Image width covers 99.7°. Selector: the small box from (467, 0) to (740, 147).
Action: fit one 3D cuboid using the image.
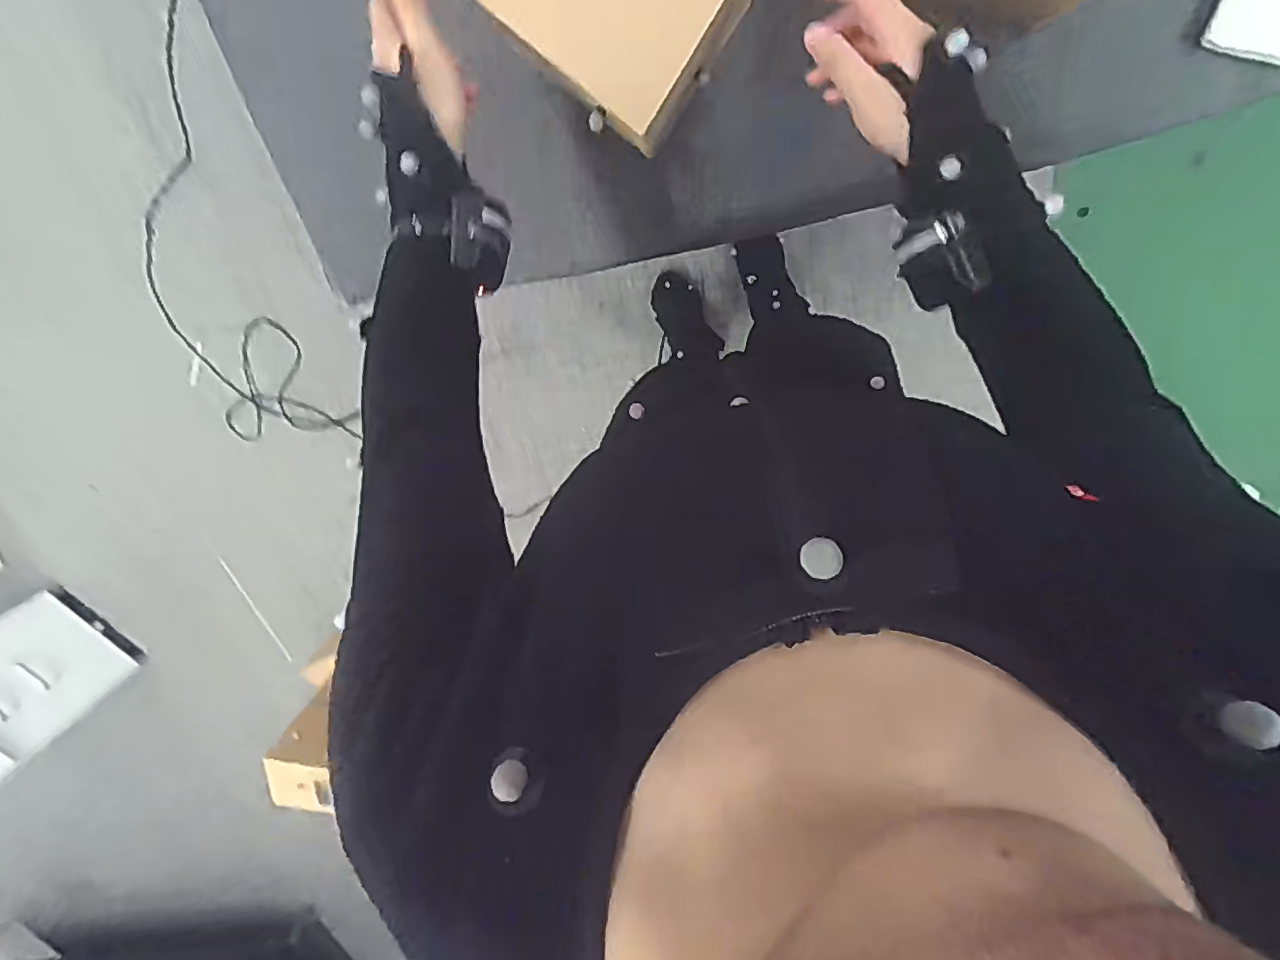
[{"bbox_3d":[-0.019,-0.424,0.473,0.179,0.176,0.168,34,113,-11],"label":"small box"}]
